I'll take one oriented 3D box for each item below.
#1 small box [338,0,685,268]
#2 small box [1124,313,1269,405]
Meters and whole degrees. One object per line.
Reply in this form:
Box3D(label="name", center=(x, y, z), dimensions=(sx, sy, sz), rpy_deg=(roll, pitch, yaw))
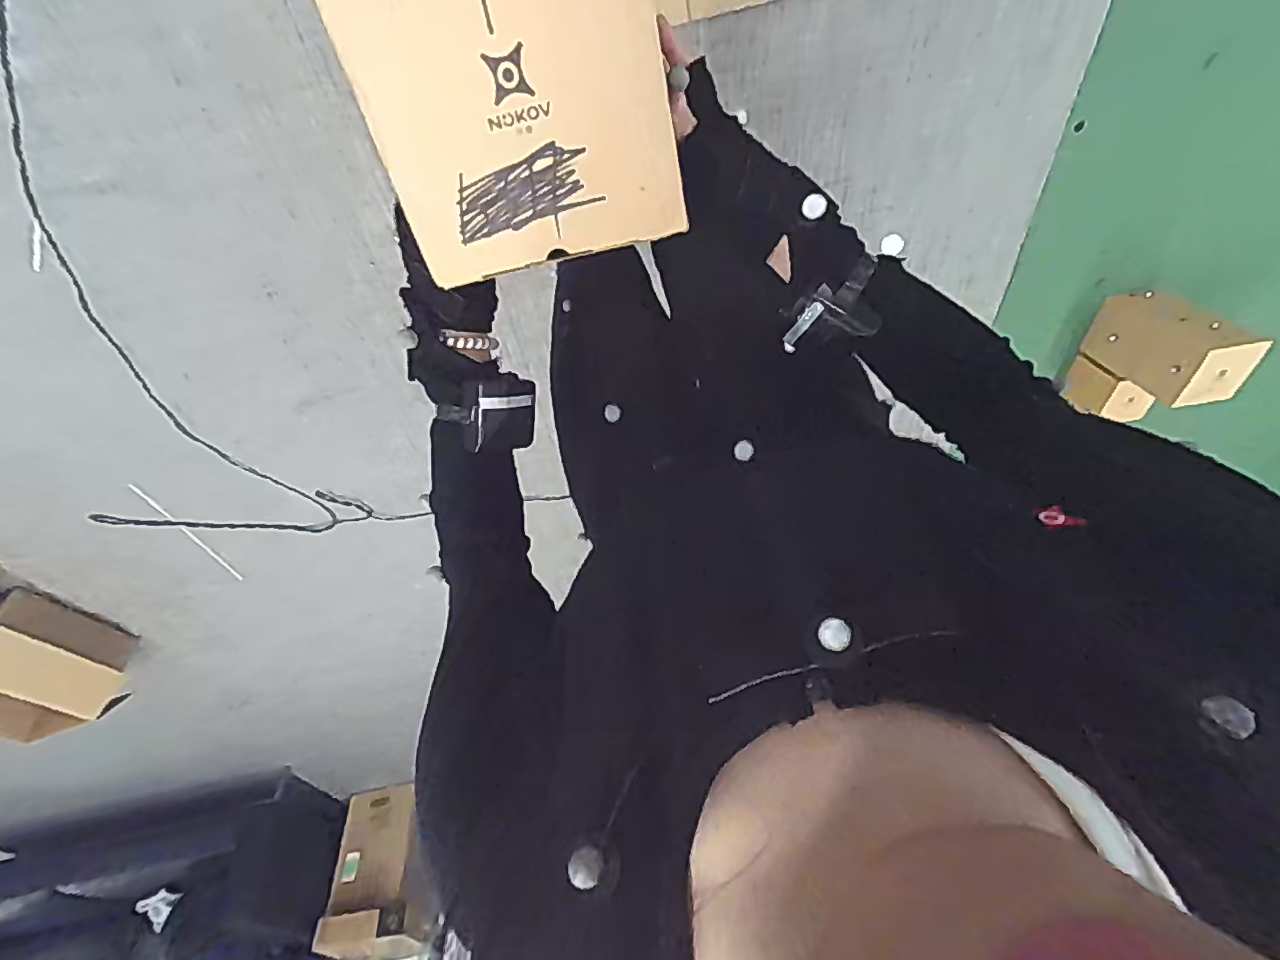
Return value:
Box3D(label="small box", center=(-0.062, -0.265, 0.360), dimensions=(0.168, 0.176, 0.179), rpy_deg=(-9, 124, 8))
Box3D(label="small box", center=(1.450, -0.326, 1.426), dimensions=(0.168, 0.176, 0.179), rpy_deg=(-9, 134, -2))
